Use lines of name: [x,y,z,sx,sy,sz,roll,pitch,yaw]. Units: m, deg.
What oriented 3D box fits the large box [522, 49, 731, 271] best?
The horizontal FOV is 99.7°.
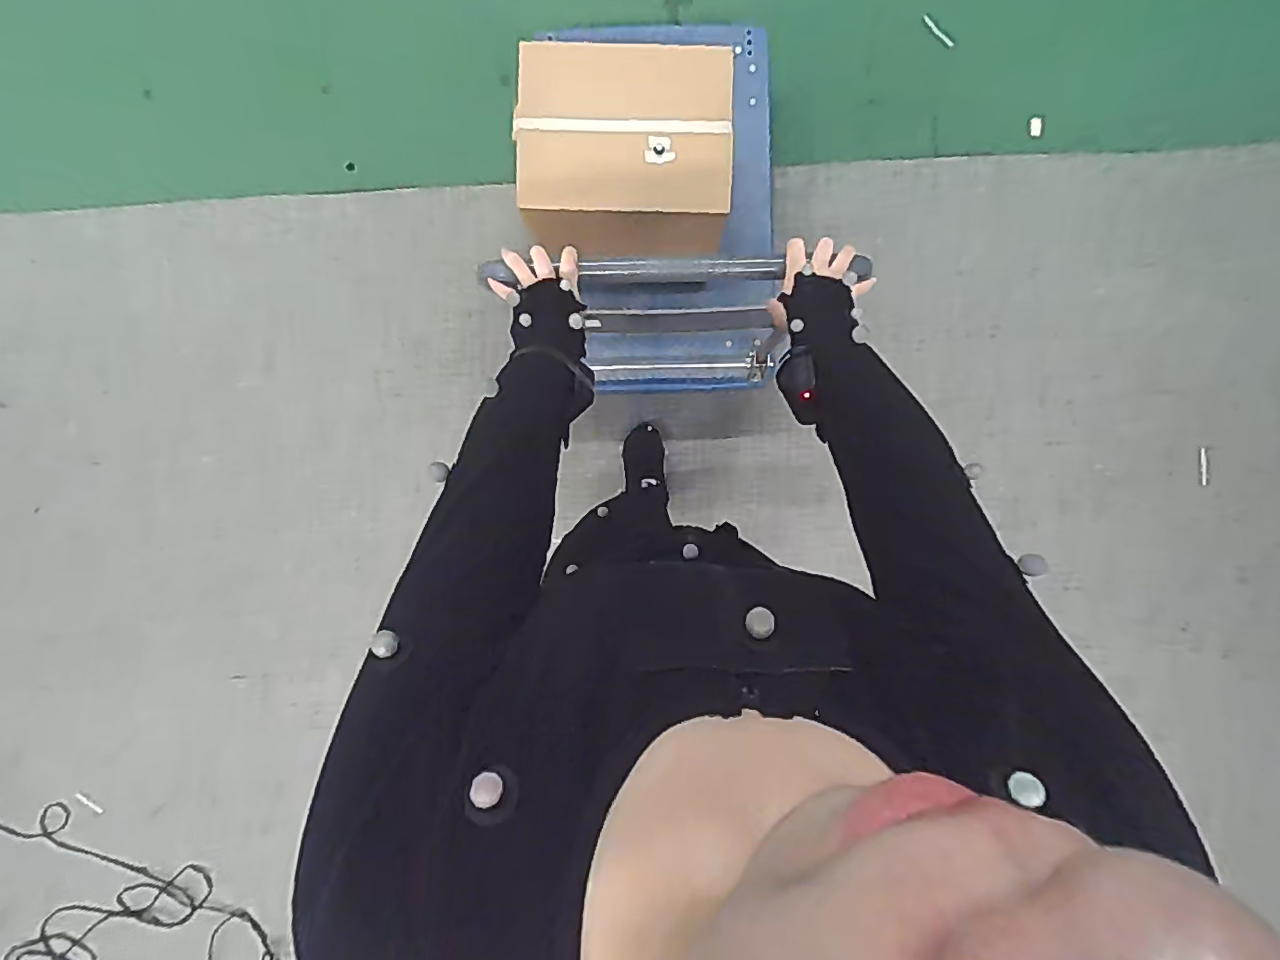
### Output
large box: [-0.029,-0.667,1.180,0.408,0.320,0.320,1,90,-1]
